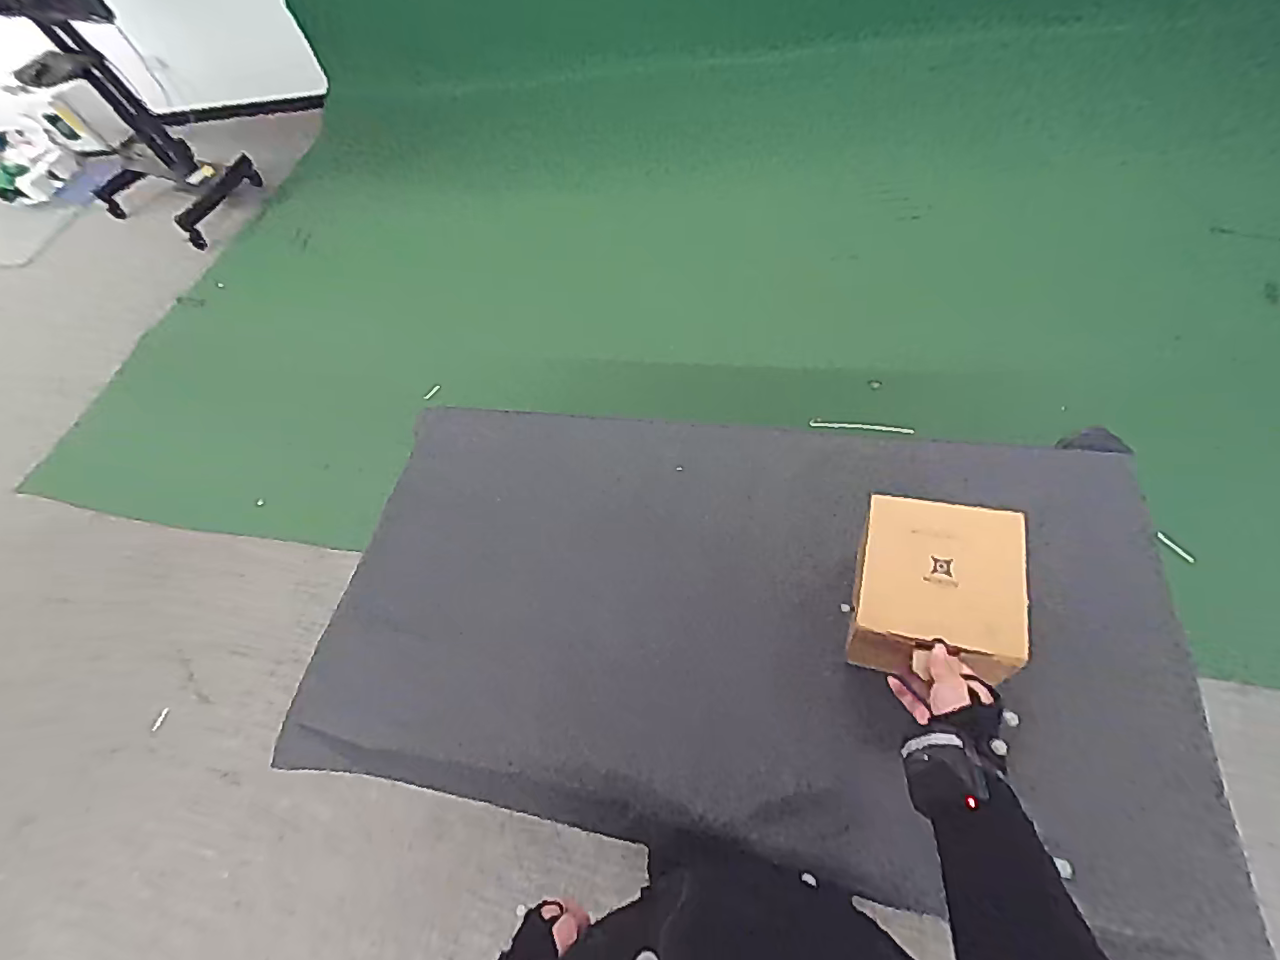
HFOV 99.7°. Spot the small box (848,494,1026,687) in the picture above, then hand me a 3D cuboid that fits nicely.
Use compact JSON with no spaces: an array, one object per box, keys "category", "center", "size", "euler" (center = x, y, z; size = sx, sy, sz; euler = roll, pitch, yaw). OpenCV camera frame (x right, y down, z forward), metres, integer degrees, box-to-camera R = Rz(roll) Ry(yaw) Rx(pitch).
[{"category":"small box","center":[0.363,0.143,0.681],"size":[0.168,0.176,0.179],"euler":[9,61,20]}]
